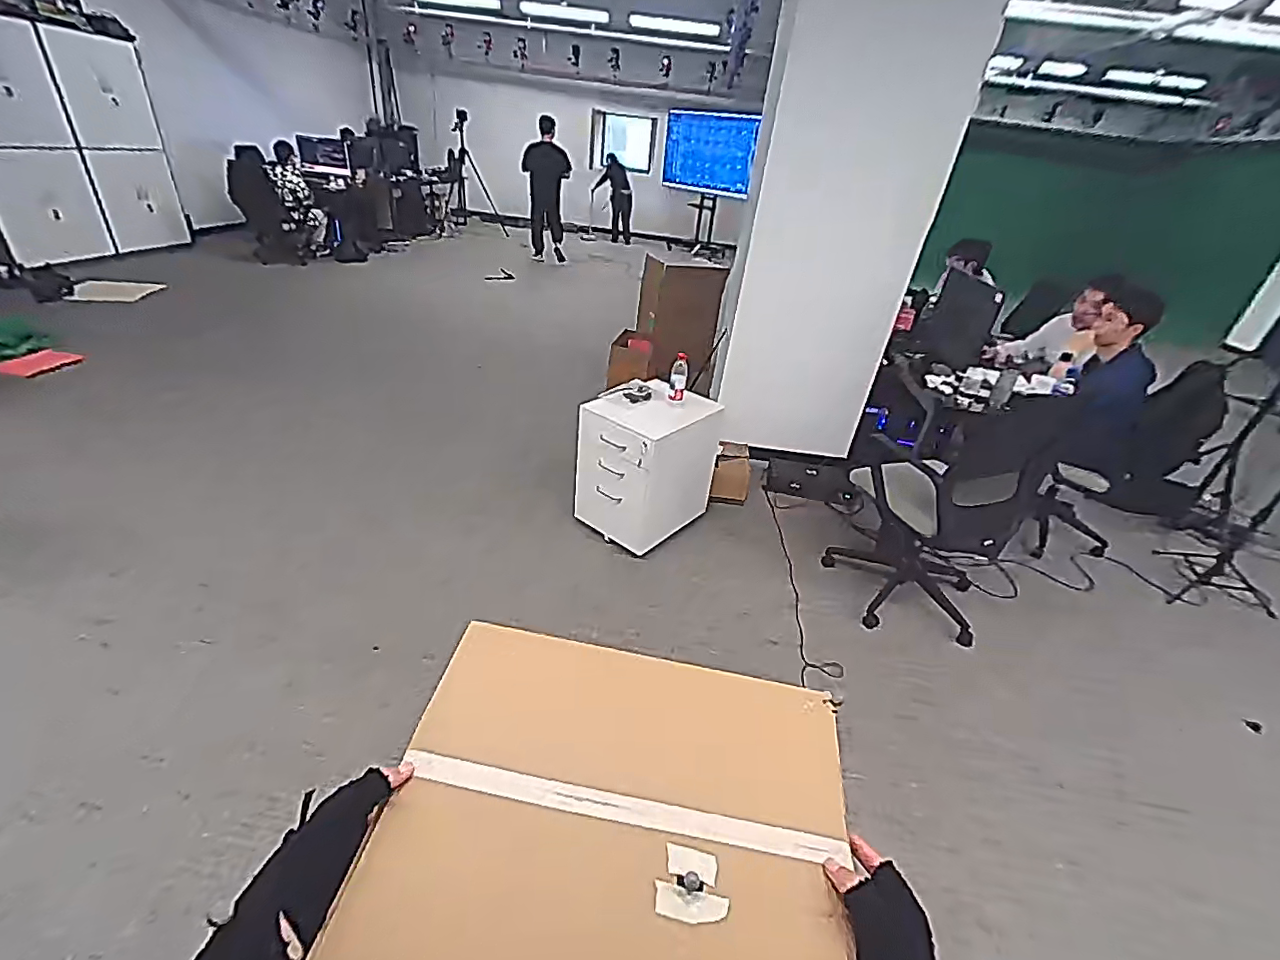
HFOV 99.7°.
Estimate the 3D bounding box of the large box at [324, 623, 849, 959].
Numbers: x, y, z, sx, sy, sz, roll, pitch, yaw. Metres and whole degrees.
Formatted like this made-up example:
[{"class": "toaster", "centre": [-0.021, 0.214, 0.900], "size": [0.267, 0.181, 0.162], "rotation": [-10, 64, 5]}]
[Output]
[{"class": "large box", "centre": [-0.033, 0.406, 0.591], "size": [0.408, 0.320, 0.320], "rotation": [11, 41, 4]}]
